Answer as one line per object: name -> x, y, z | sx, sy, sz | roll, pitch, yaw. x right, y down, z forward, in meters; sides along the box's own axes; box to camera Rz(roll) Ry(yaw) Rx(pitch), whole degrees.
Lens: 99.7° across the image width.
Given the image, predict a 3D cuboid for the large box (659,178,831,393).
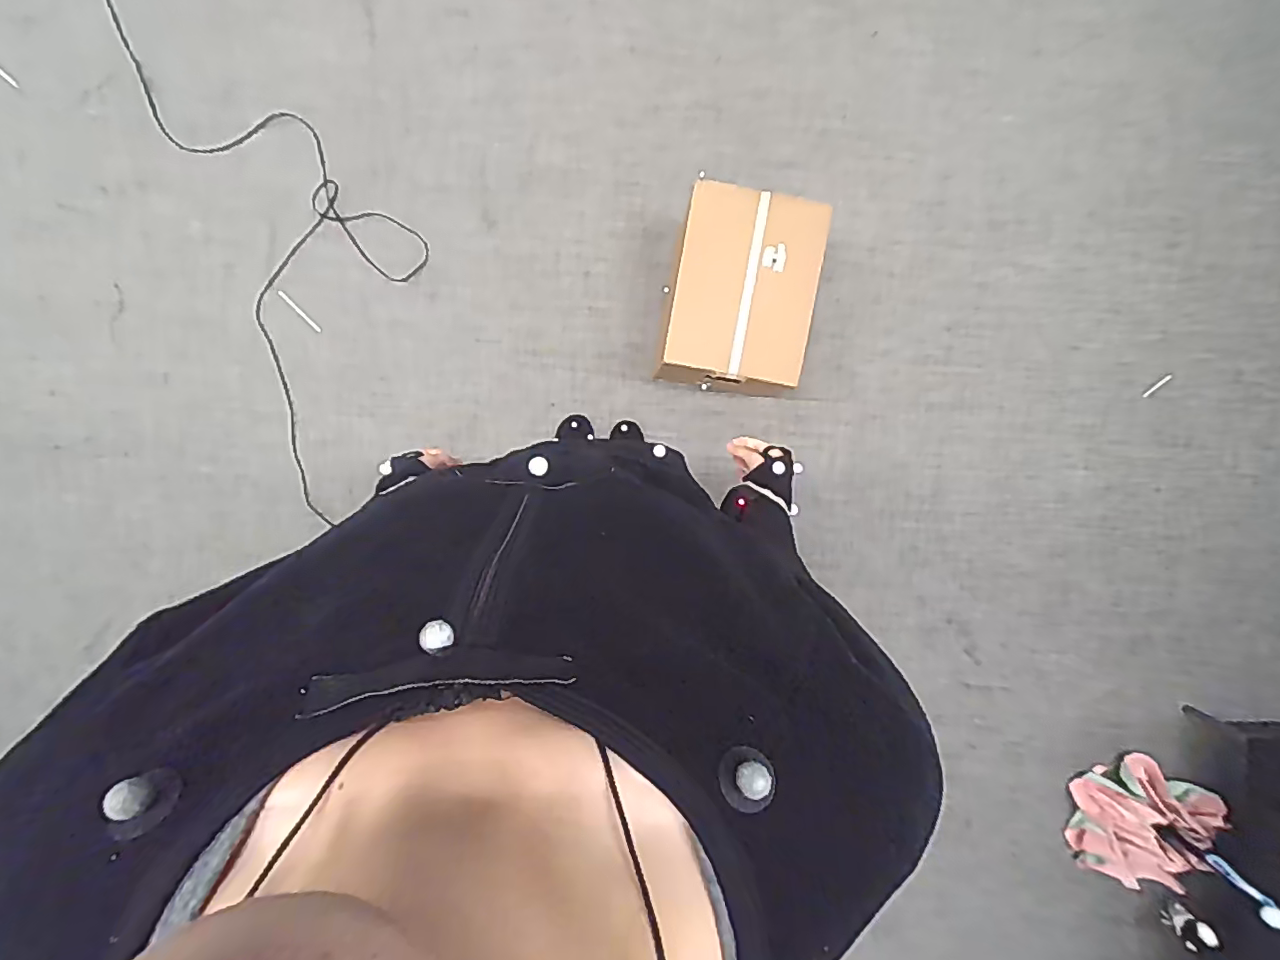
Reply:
large box -> 0.235, -0.448, 1.341 | 0.320, 0.320, 0.408 | 10, 94, -4
